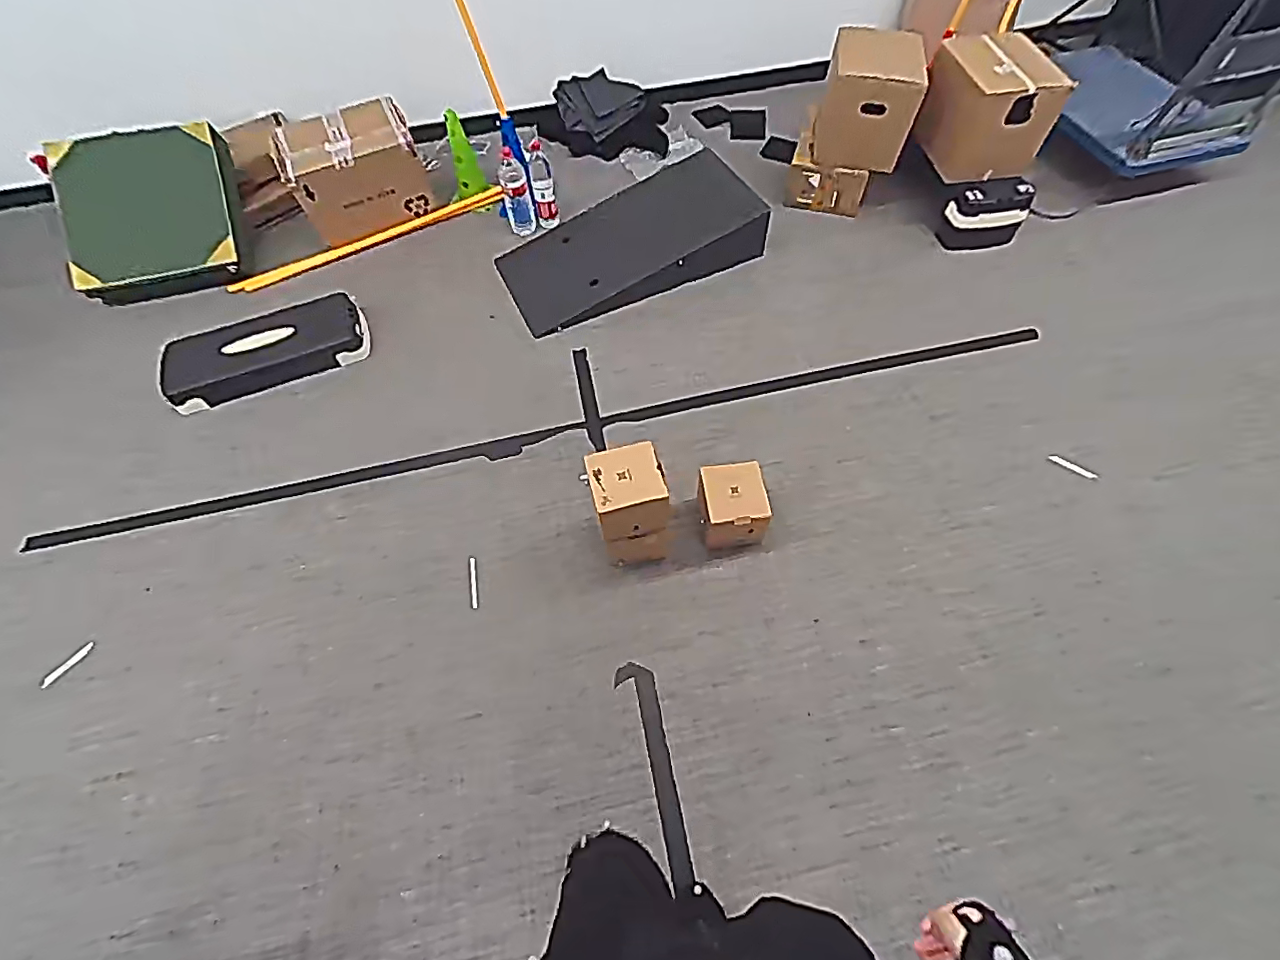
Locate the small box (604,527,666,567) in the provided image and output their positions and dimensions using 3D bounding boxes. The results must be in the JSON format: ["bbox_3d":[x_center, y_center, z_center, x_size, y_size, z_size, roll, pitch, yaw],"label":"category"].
[{"bbox_3d":[-0.021,0.129,1.497,0.168,0.176,0.179,-9,59,-4],"label":"small box"}]

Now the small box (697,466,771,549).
[{"bbox_3d":[0.257,0.084,1.516,0.168,0.176,0.179,-6,59,-2],"label":"small box"}]

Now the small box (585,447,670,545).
[{"bbox_3d":[-0.032,0.043,1.357,0.179,0.176,0.168,-13,59,-7],"label":"small box"}]
